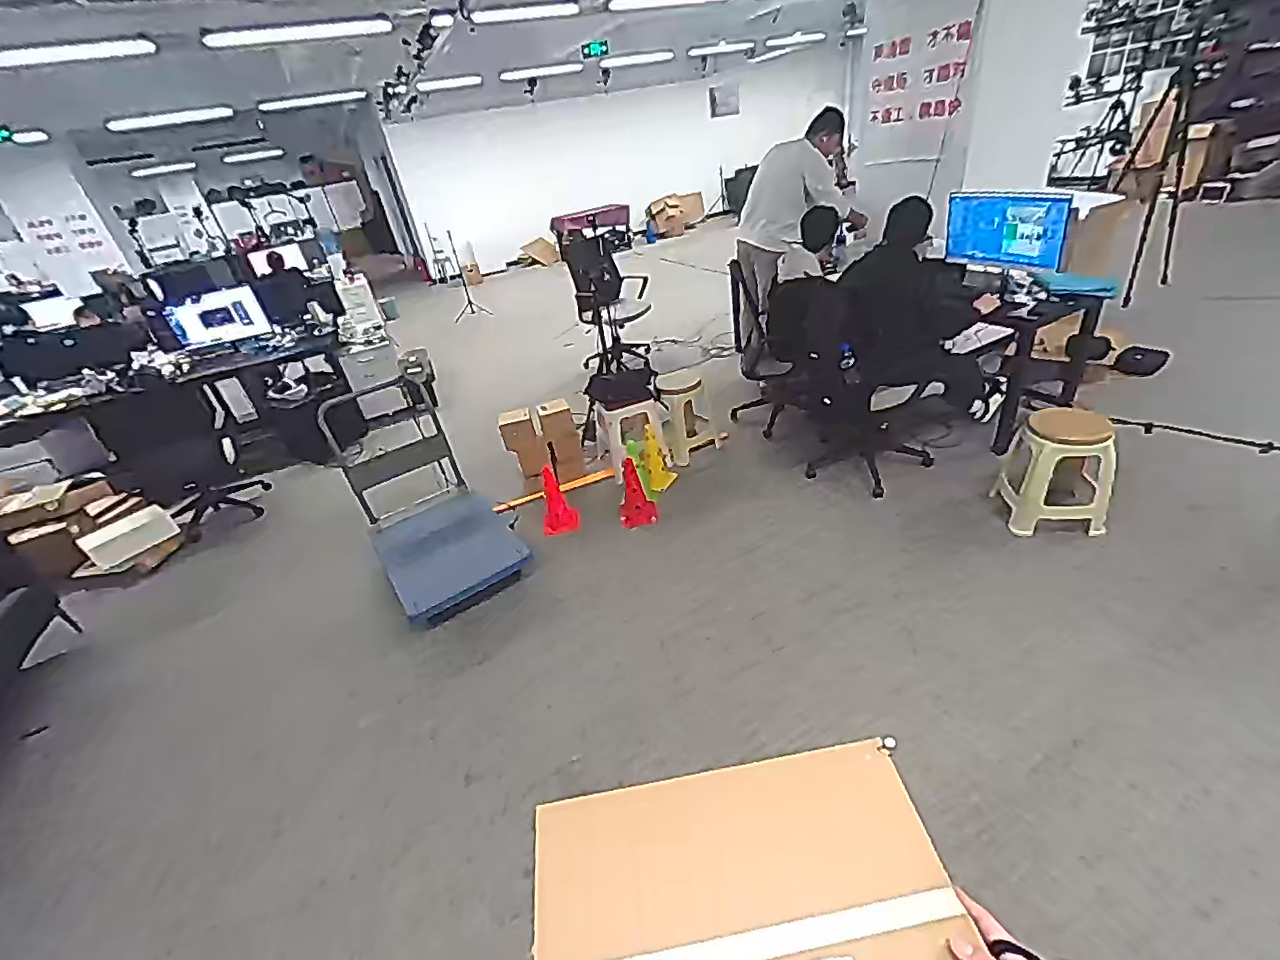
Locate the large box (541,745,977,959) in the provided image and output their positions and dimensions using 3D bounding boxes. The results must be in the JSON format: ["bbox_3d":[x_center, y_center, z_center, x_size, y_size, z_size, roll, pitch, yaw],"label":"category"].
[{"bbox_3d":[0.119,0.557,0.605,0.408,0.320,0.320,-10,40,-3],"label":"large box"}]
